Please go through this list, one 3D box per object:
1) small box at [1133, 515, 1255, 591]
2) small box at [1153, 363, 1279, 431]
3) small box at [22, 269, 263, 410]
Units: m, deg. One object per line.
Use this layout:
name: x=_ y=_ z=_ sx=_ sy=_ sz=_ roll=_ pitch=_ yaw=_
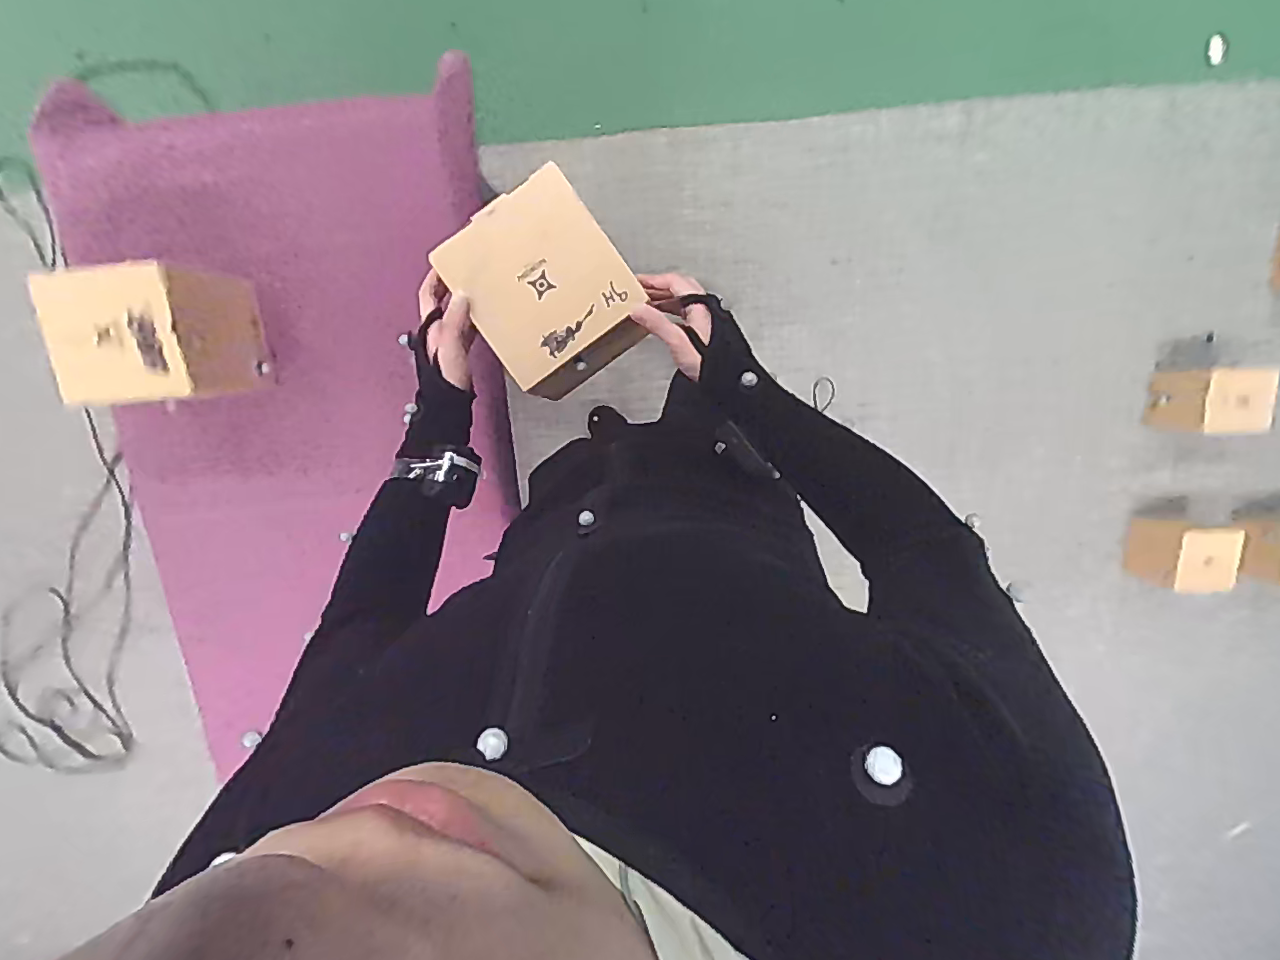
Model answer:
small box: x=1.556 y=0.201 z=1.531 sx=0.168 sy=0.176 sz=0.179 roll=-2 pitch=102 yaw=2
small box: x=1.543 y=-0.225 z=1.442 sx=0.179 sy=0.176 sz=0.168 roll=-3 pitch=101 yaw=2
small box: x=-0.673 y=-0.193 z=0.762 sx=0.179 sy=0.176 sz=0.168 roll=-4 pitch=101 yaw=3
